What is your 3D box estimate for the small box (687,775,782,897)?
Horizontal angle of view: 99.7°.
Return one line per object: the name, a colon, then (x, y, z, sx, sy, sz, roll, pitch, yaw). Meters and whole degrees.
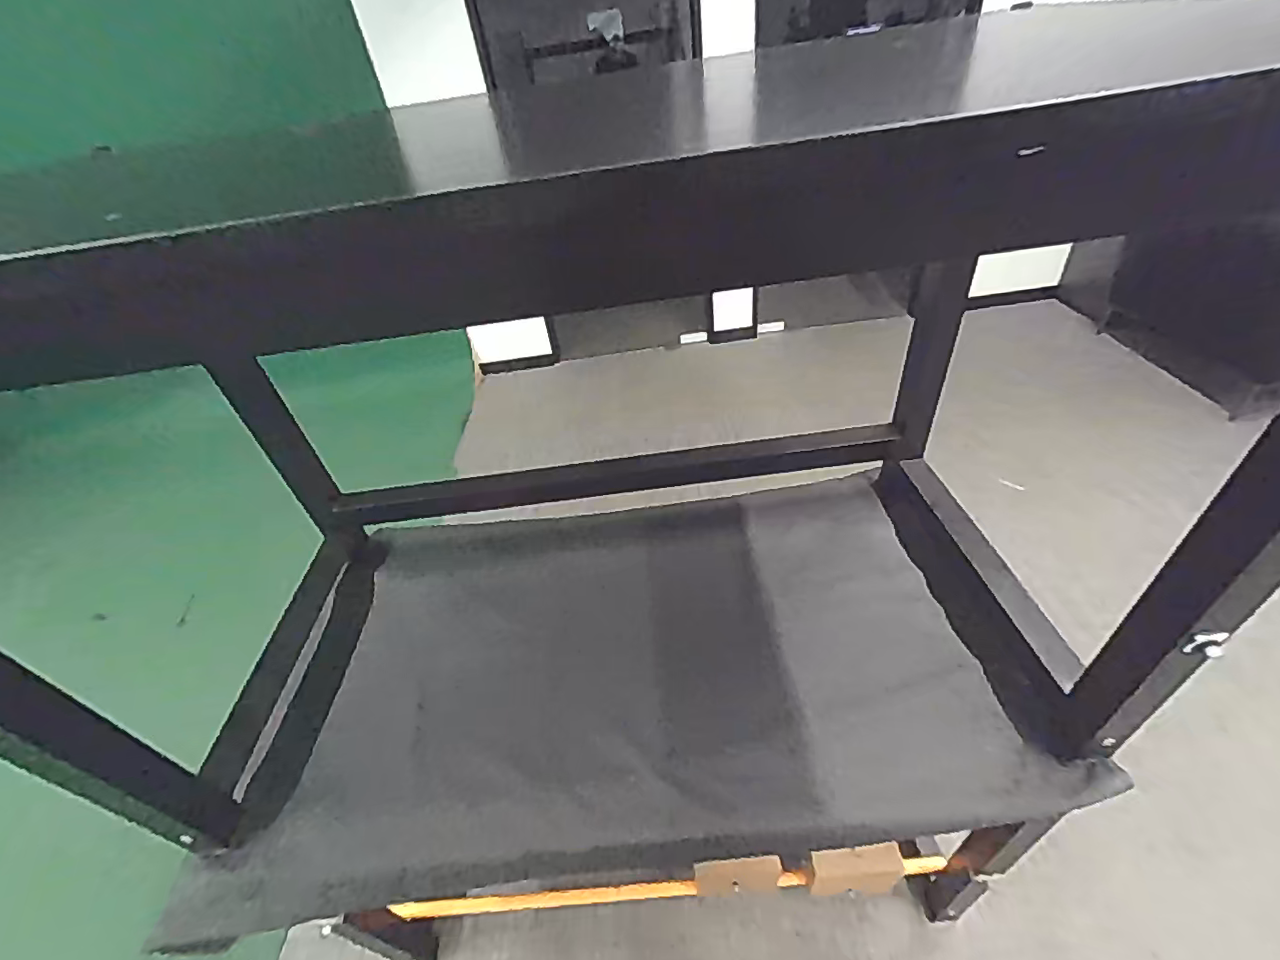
small box: (0.194, 0.747, 1.130, 0.168, 0.176, 0.179, -7, 40, 2)
